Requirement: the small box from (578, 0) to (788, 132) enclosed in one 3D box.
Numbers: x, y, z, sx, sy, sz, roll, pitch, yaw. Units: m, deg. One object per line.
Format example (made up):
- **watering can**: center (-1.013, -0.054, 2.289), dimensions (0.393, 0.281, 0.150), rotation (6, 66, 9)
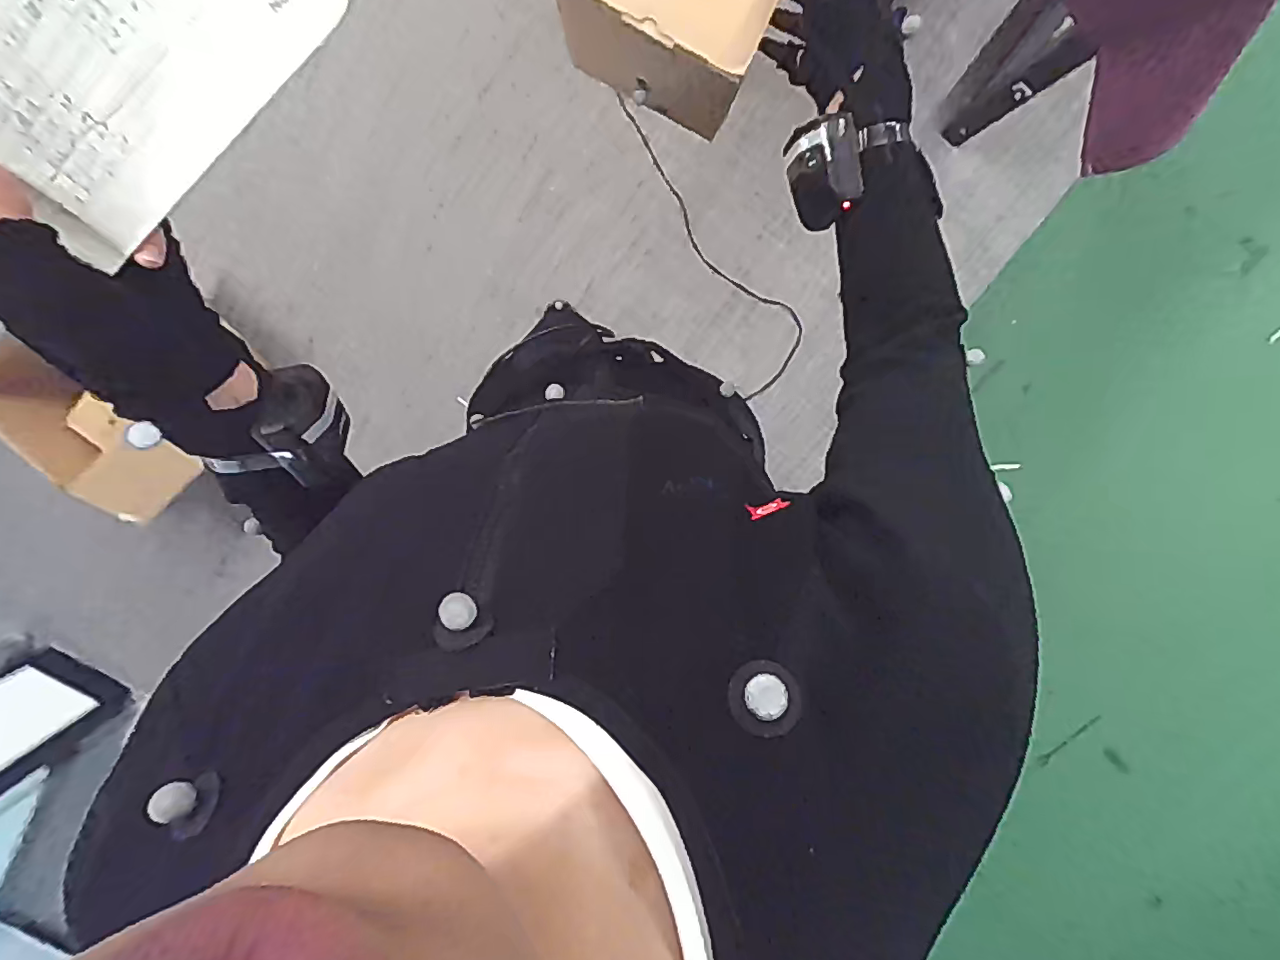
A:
- **small box**: center (0.049, -0.445, 0.462), dimensions (0.168, 0.176, 0.179), rotation (25, 107, -9)
